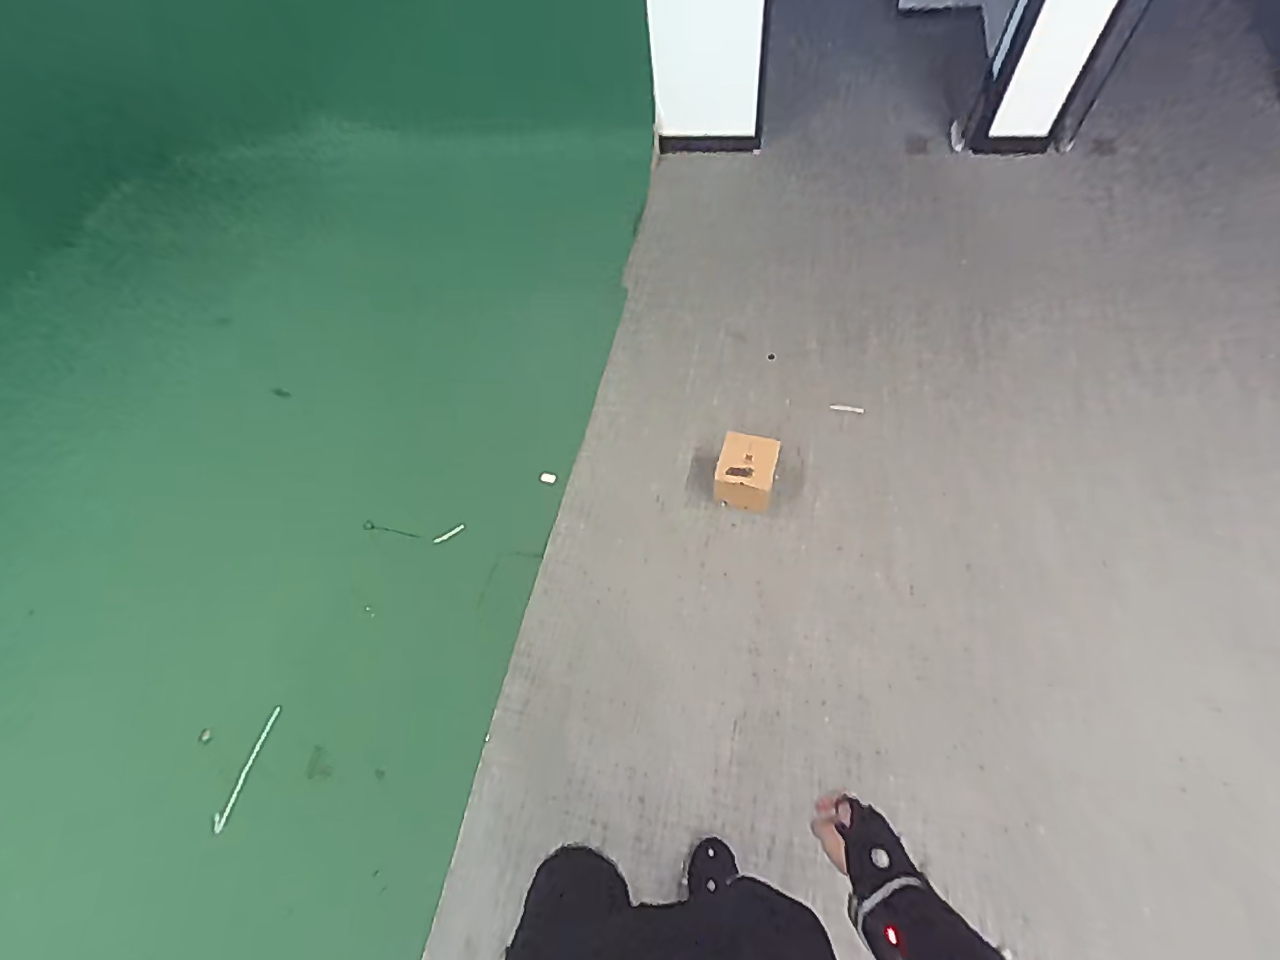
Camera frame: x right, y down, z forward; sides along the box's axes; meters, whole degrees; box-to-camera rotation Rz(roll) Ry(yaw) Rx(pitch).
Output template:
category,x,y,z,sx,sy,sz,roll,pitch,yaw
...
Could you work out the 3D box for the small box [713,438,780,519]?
category,x,y,z,sx,sy,sz,roll,pitch,yaw
small box,0.329,0.000,1.686,0.168,0.176,0.179,13,63,13
